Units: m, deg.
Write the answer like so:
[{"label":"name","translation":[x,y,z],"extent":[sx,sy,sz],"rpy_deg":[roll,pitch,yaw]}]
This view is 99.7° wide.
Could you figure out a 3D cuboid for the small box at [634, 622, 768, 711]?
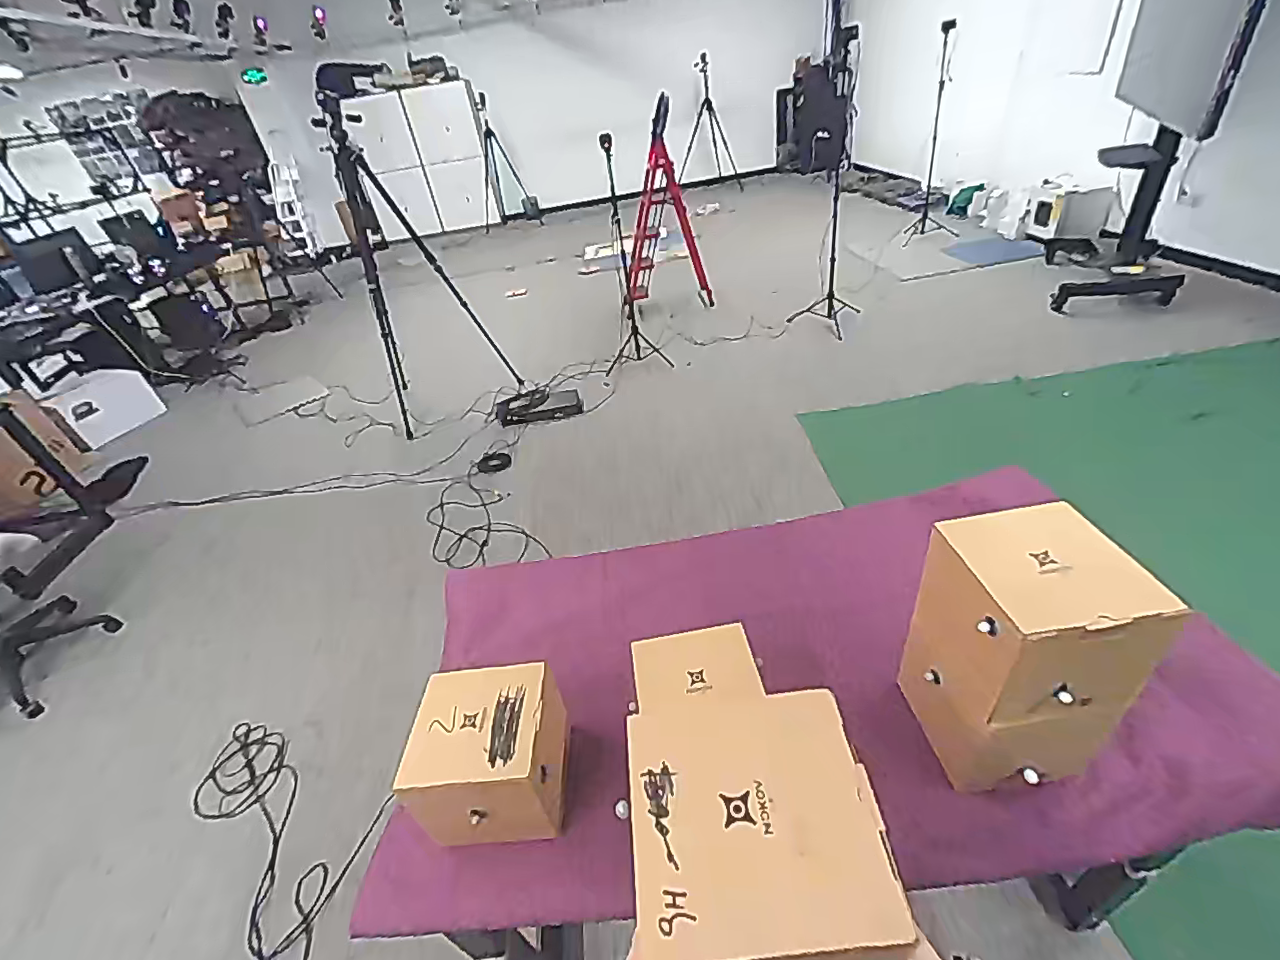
[{"label":"small box","translation":[0.089,0.333,0.762],"extent":[0.168,0.176,0.179],"rpy_deg":[-11,35,0]}]

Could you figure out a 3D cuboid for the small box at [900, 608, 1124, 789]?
[{"label":"small box","translation":[0.479,0.284,0.735],"extent":[0.168,0.176,0.179],"rpy_deg":[-9,36,1]}]

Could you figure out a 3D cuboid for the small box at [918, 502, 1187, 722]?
[{"label":"small box","translation":[0.458,0.153,0.643],"extent":[0.168,0.176,0.179],"rpy_deg":[-10,36,0]}]

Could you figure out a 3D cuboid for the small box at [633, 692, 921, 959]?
[{"label":"small box","translation":[0.092,0.299,0.443],"extent":[0.179,0.176,0.168],"rpy_deg":[-8,39,2]}]
